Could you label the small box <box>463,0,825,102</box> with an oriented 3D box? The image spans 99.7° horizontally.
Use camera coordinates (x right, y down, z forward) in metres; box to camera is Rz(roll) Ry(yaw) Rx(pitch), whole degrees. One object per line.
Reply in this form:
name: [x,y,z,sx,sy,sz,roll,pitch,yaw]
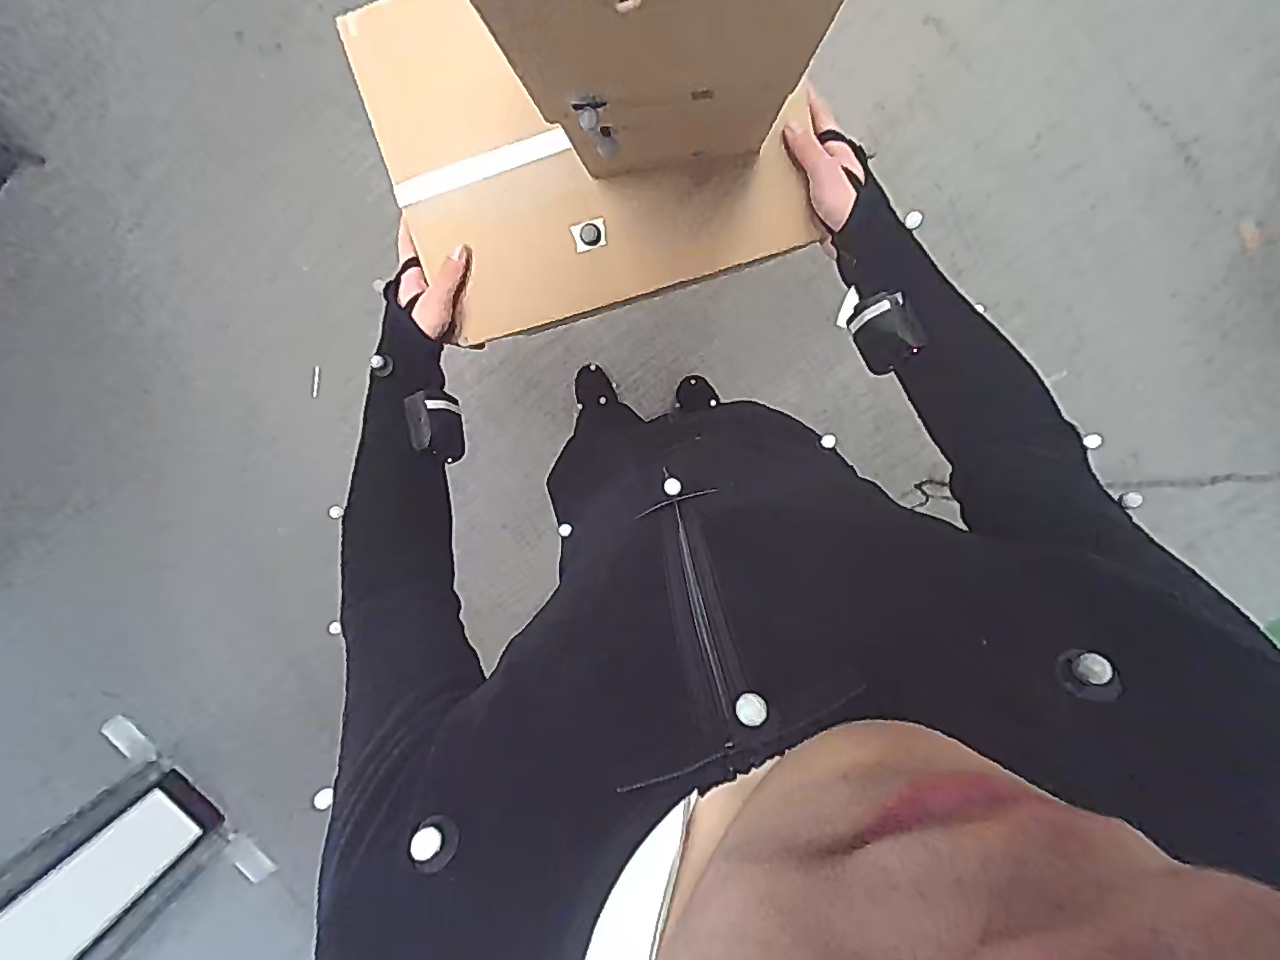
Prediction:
small box: [0.005,-0.299,0.245,0.168,0.176,0.179,-4,106,4]
